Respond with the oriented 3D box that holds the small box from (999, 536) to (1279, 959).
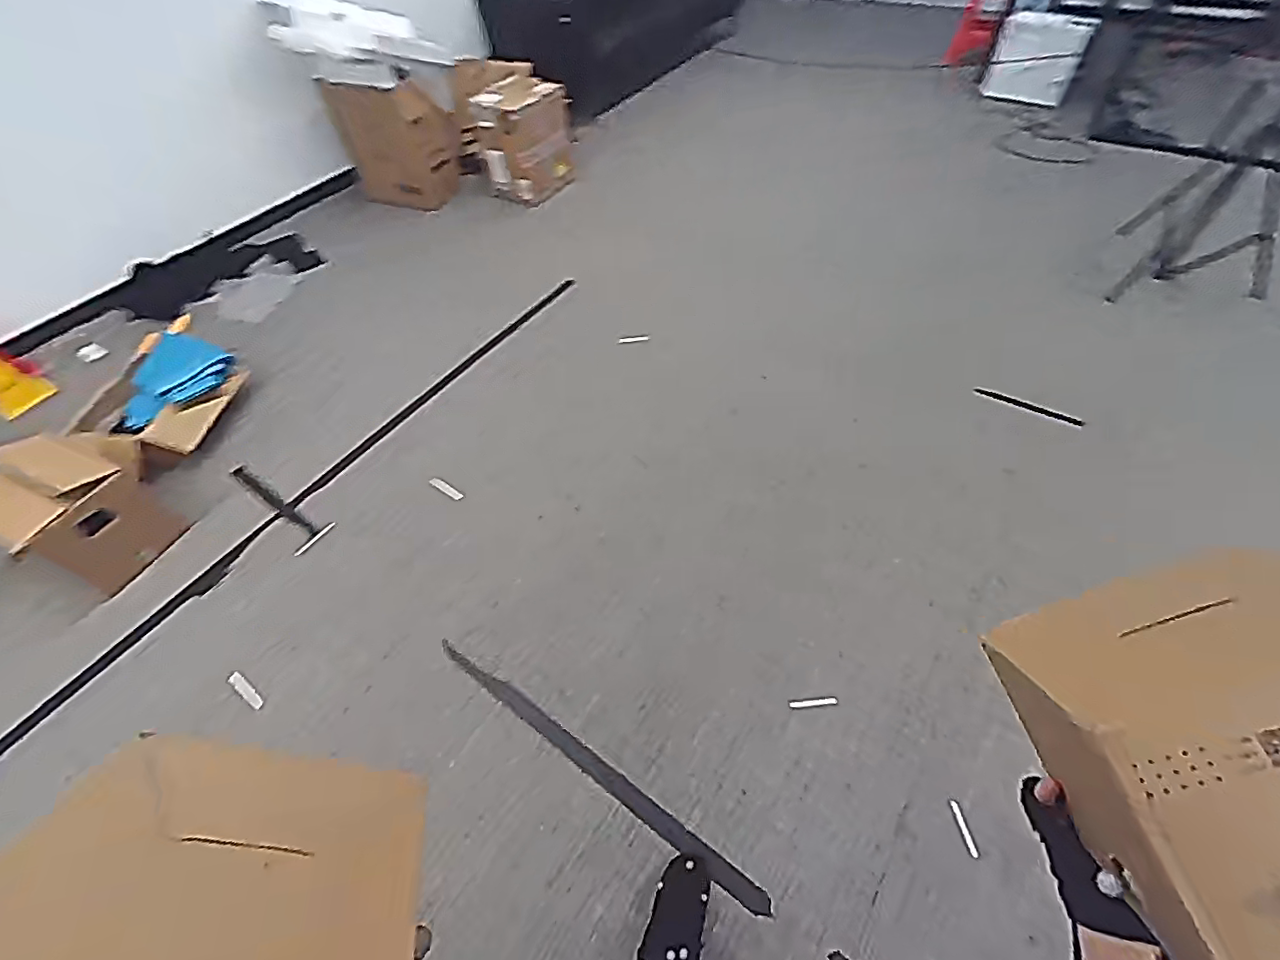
[{"bbox_3d":[0.324,0.139,0.276,0.168,0.179,0.176,-24,83,17],"label":"small box"}]
